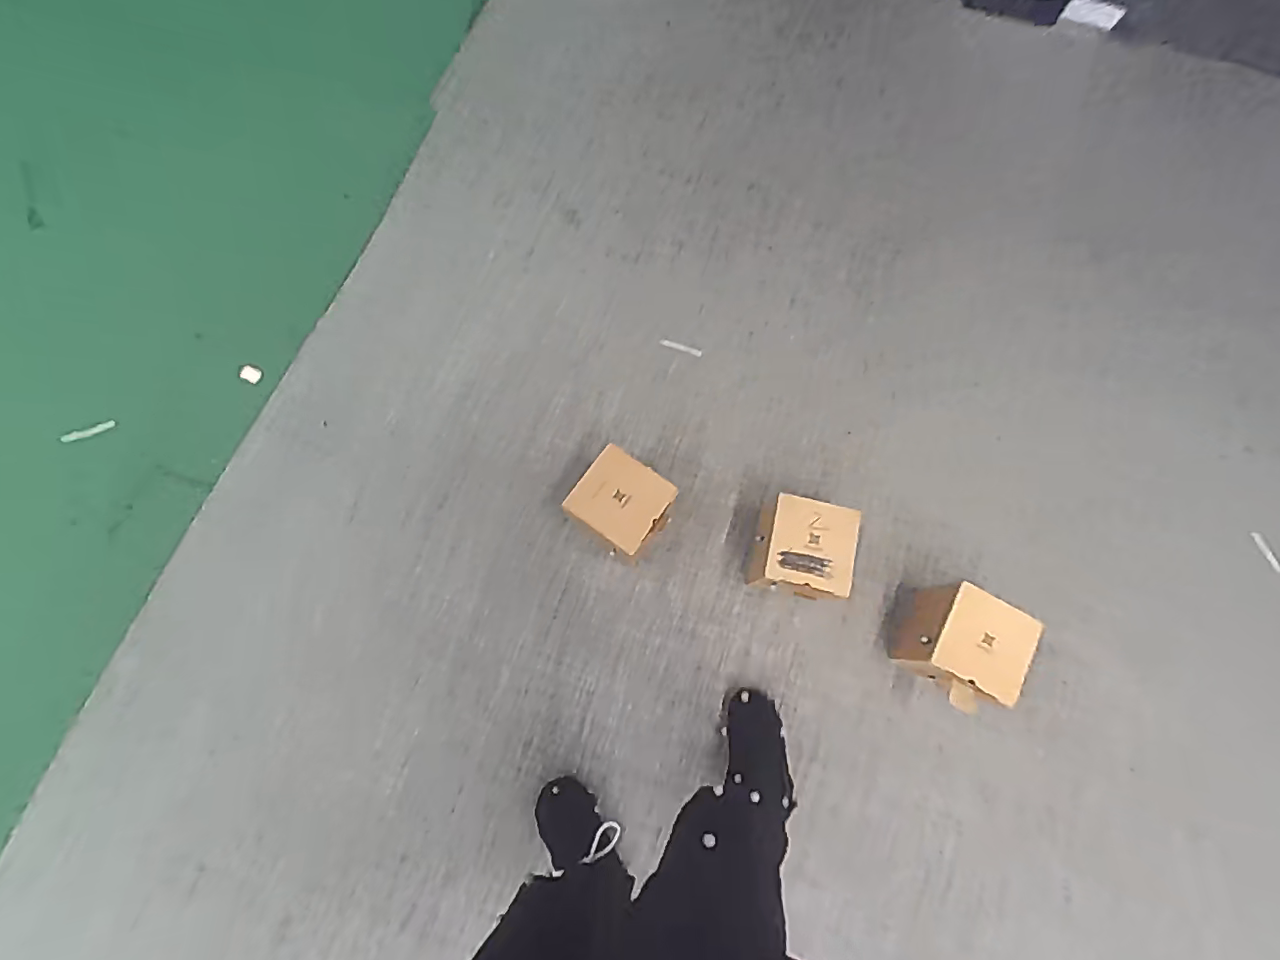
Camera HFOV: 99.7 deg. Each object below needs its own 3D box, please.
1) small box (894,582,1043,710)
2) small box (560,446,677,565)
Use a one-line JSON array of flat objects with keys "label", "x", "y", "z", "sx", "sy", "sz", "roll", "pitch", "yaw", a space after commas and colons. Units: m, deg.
[{"label": "small box", "x": 0.639, "y": 0.324, "z": 1.072, "sx": 0.168, "sy": 0.176, "sz": 0.179, "roll": 29, "pitch": 75, "yaw": 7}, {"label": "small box", "x": -0.042, "y": 0.063, "z": 1.133, "sx": 0.179, "sy": 0.176, "sz": 0.168, "roll": 34, "pitch": 74, "yaw": 10}]
